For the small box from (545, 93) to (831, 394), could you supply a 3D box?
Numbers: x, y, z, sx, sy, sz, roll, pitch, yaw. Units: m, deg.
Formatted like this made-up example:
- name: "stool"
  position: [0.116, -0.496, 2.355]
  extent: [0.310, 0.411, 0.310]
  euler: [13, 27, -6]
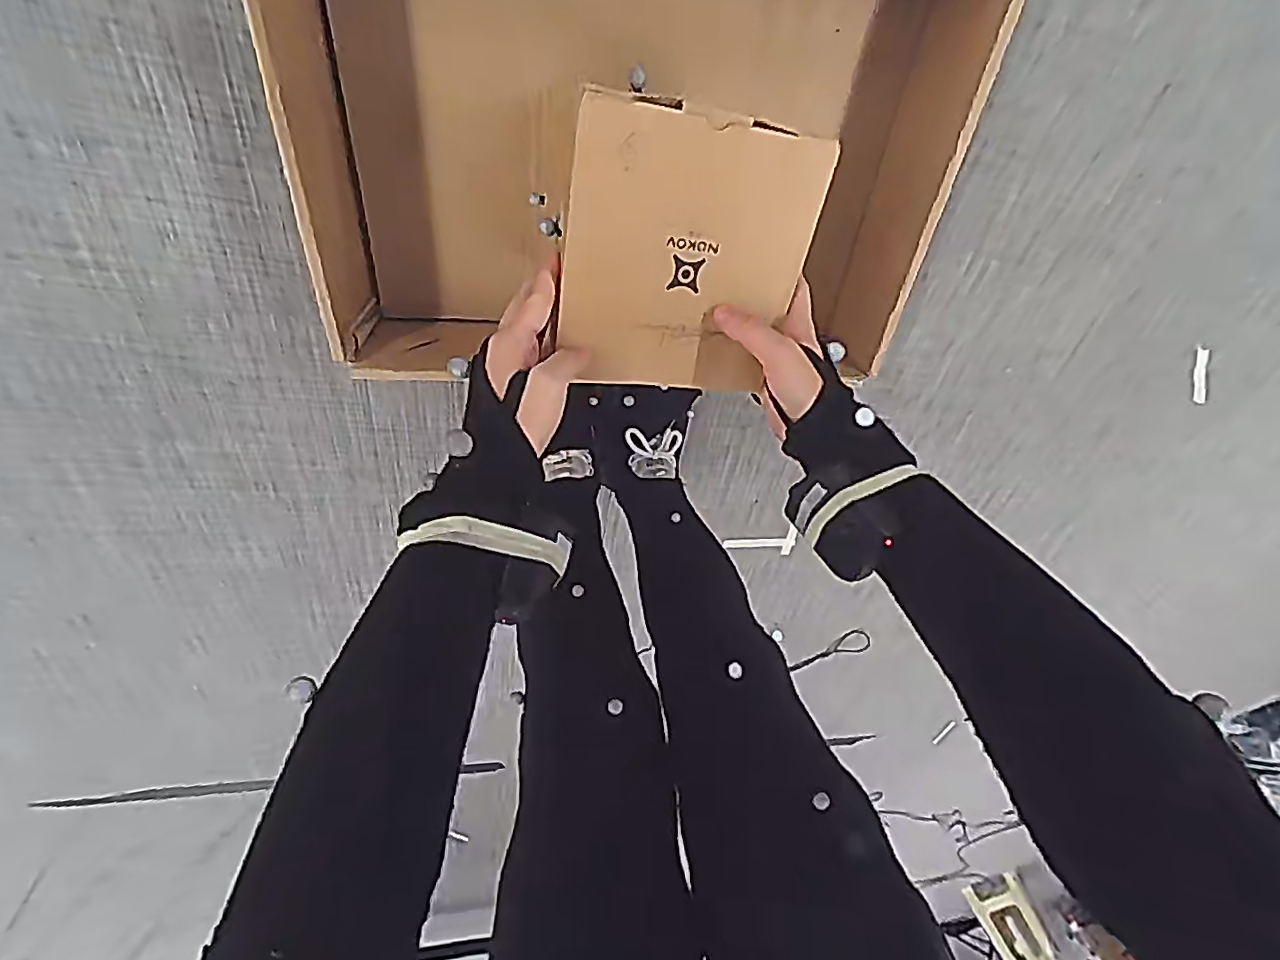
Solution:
- name: "small box"
  position: [0.015, -0.189, 0.432]
  extent: [0.168, 0.176, 0.179]
  euler: [2, 127, -14]
